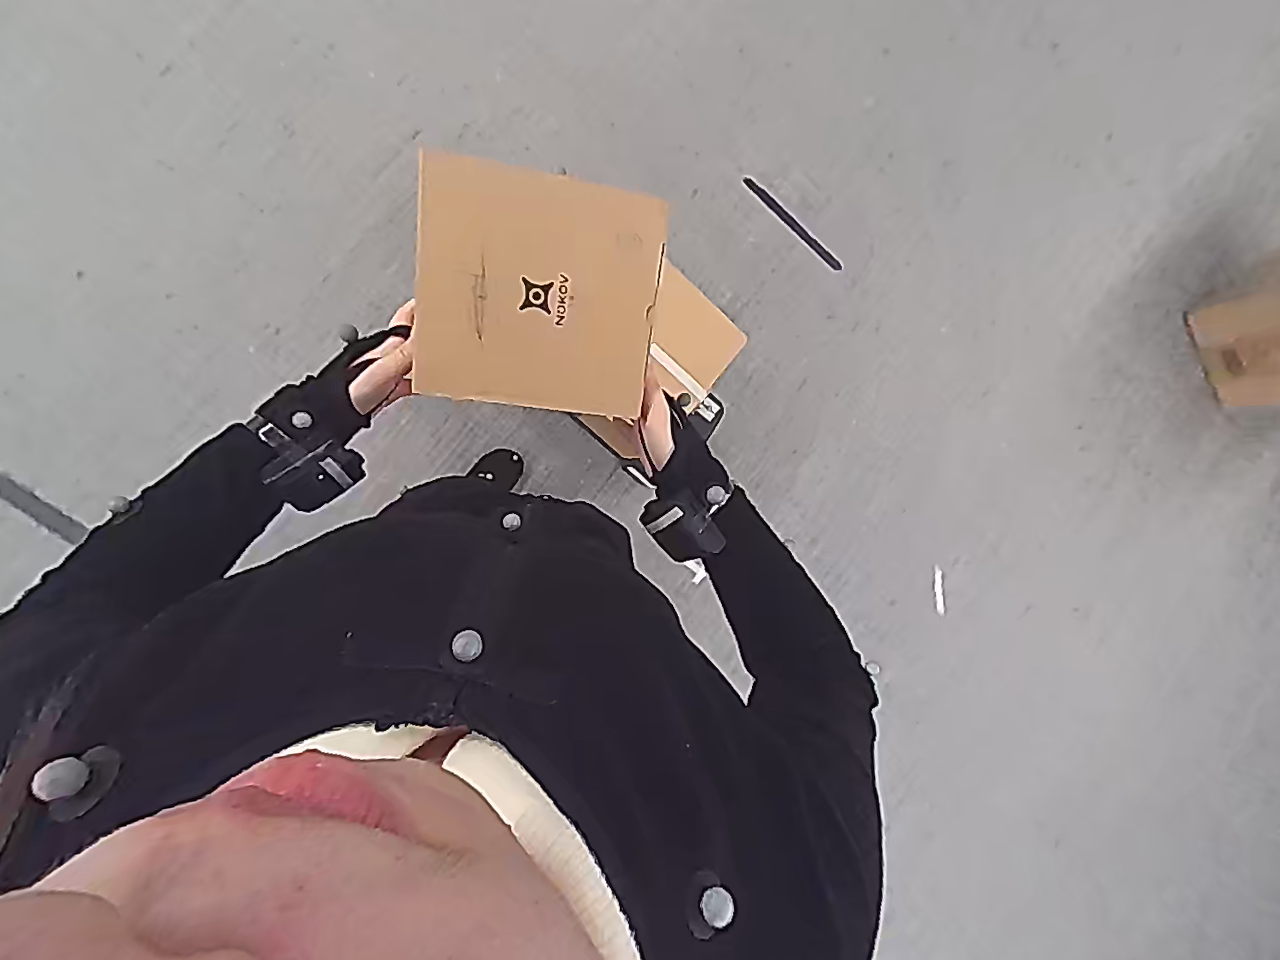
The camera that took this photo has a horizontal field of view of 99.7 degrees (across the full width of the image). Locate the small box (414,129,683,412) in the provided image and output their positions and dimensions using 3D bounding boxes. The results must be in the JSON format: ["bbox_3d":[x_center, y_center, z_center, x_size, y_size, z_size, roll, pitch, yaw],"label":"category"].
[{"bbox_3d":[-0.081,-0.161,0.455,0.179,0.176,0.168,5,106,-13],"label":"small box"}]

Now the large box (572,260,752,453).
[{"bbox_3d":[-0.048,-0.297,1.161,0.408,0.320,0.320,41,84,-9],"label":"large box"}]

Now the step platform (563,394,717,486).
[{"bbox_3d":[-0.119,-0.303,1.390,0.286,0.204,0.684,-45,99,-7],"label":"step platform"}]
